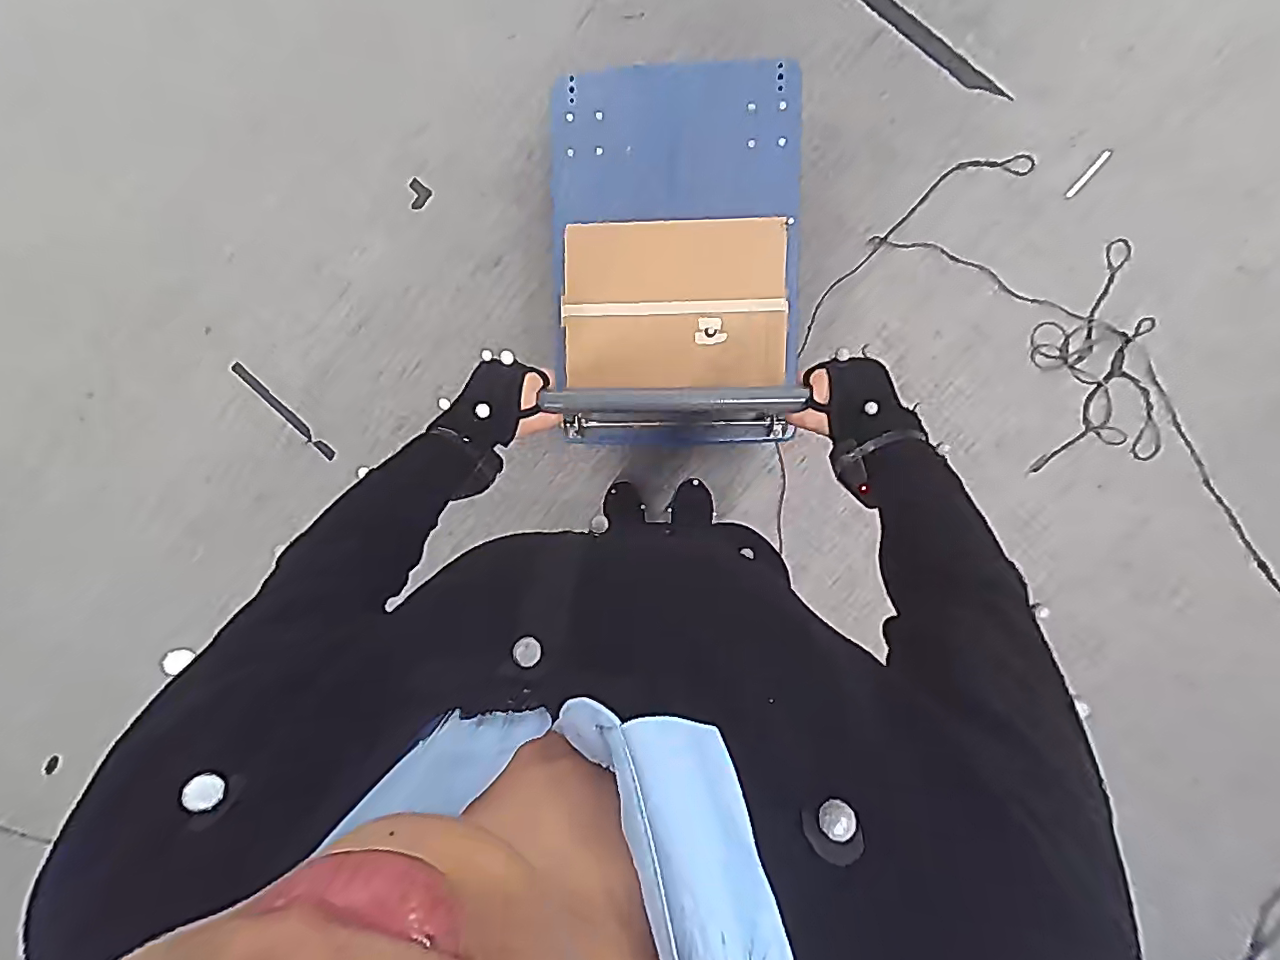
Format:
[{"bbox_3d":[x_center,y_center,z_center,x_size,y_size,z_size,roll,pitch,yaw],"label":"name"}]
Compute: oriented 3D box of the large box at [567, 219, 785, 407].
[{"bbox_3d":[0.073,-0.324,1.143,0.408,0.320,0.320,0,95,3],"label":"large box"}]
